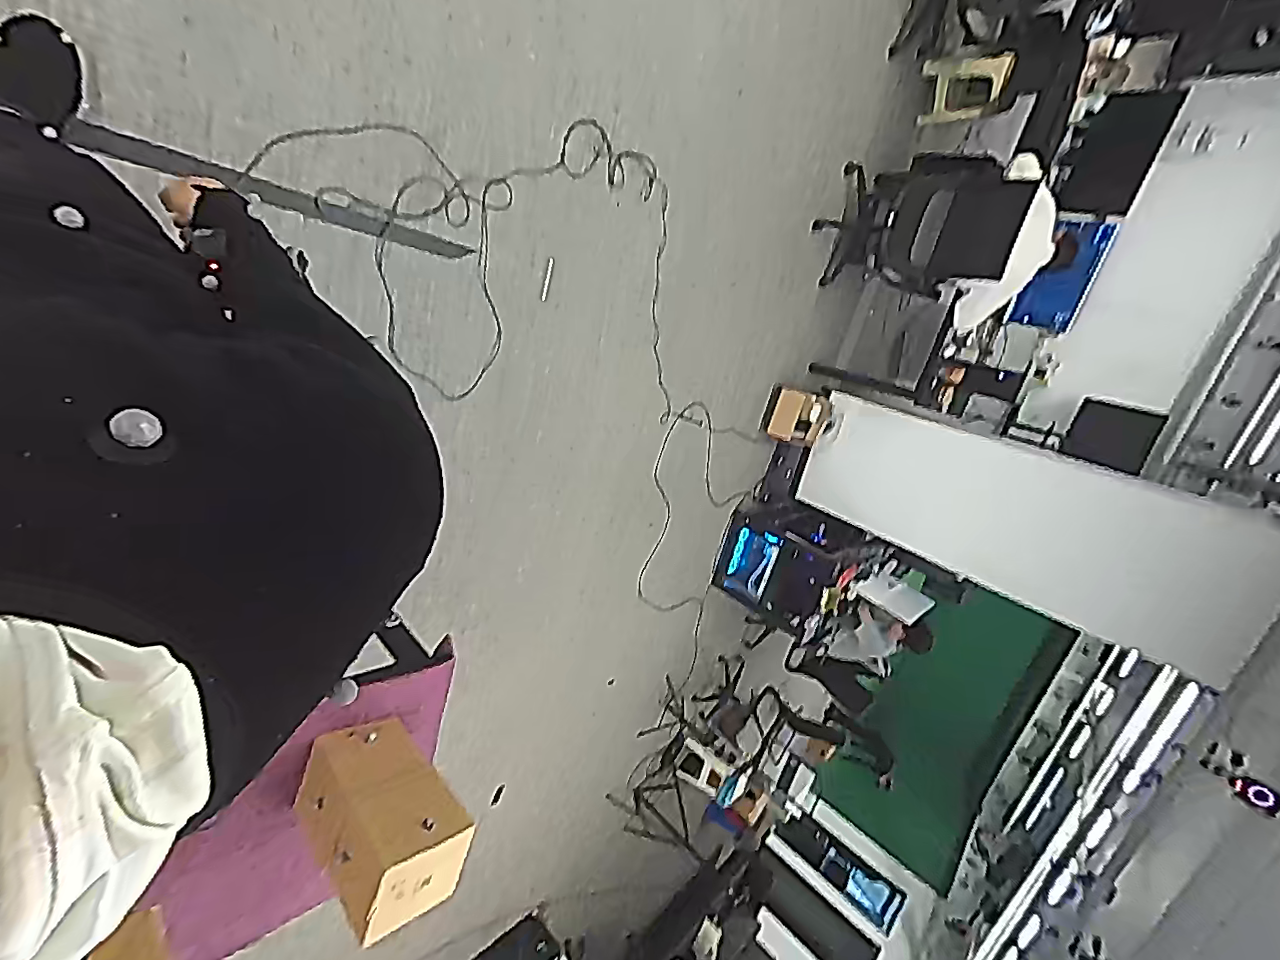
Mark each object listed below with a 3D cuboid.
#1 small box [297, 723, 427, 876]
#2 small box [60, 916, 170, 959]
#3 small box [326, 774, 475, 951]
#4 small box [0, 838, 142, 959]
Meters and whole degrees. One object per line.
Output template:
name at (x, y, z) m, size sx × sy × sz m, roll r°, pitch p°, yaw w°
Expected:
small box at (-0.563, 0.630, 1.089) m, size 0.168 × 0.176 × 0.179 m, roll 10°, pitch 103°, yaw -52°
small box at (-0.718, 0.733, 0.700) m, size 0.179 × 0.176 × 0.168 m, roll -7°, pitch 118°, yaw -47°
small box at (-0.440, 0.682, 0.992) m, size 0.179 × 0.176 × 0.168 m, roll 7°, pitch 106°, yaw -51°
small box at (-0.848, 0.681, 0.786) m, size 0.179 × 0.176 × 0.168 m, roll -7°, pitch 119°, yaw -47°
